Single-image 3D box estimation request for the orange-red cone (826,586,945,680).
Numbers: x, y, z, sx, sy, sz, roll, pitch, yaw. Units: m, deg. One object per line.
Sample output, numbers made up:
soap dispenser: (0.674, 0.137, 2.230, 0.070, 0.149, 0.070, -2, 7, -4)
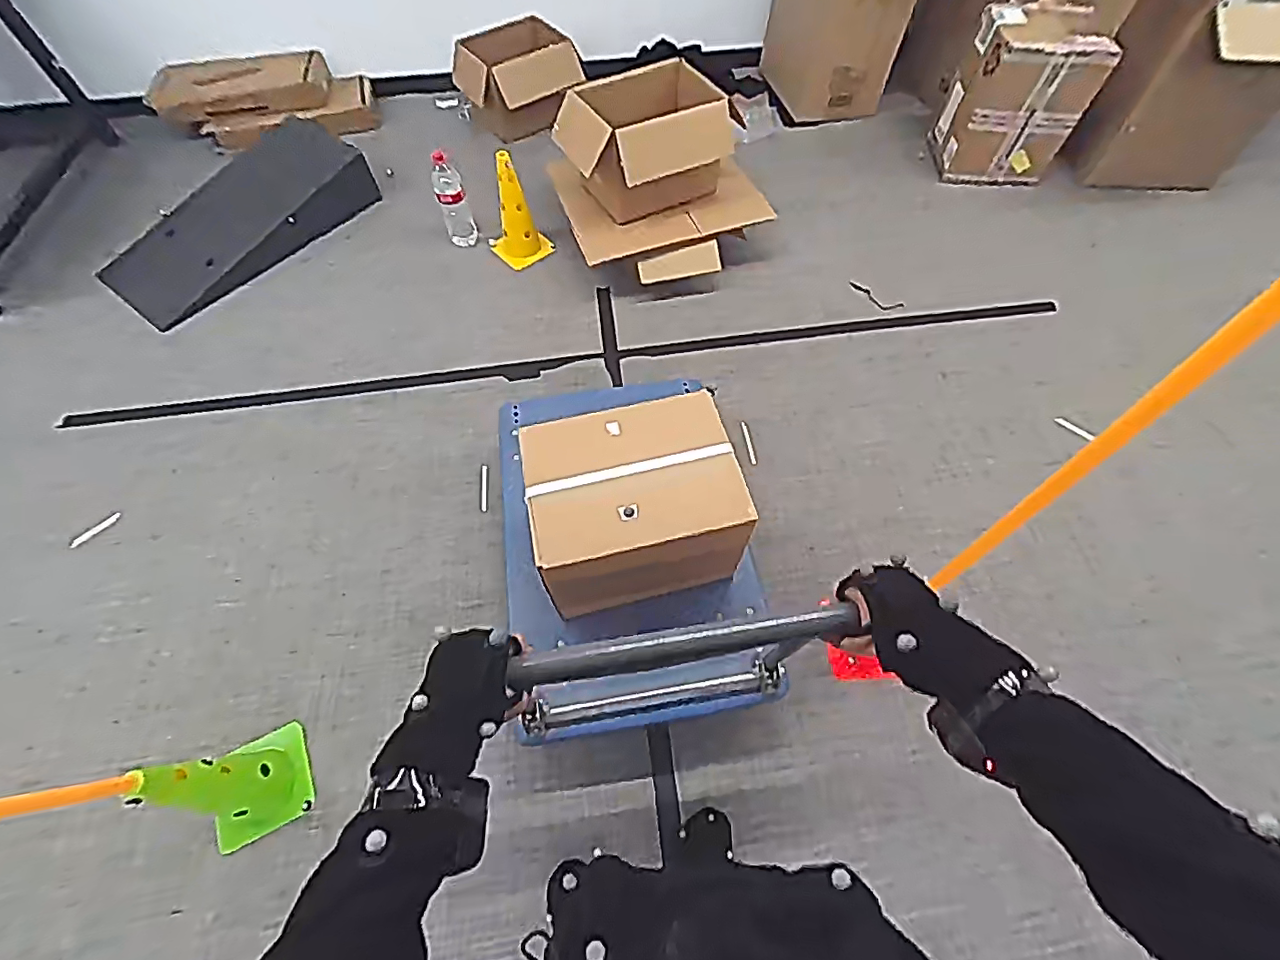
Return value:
orange-red cone: (0.568, 0.305, 1.184, 0.199, 0.360, 0.198, -1, 60, -1)
